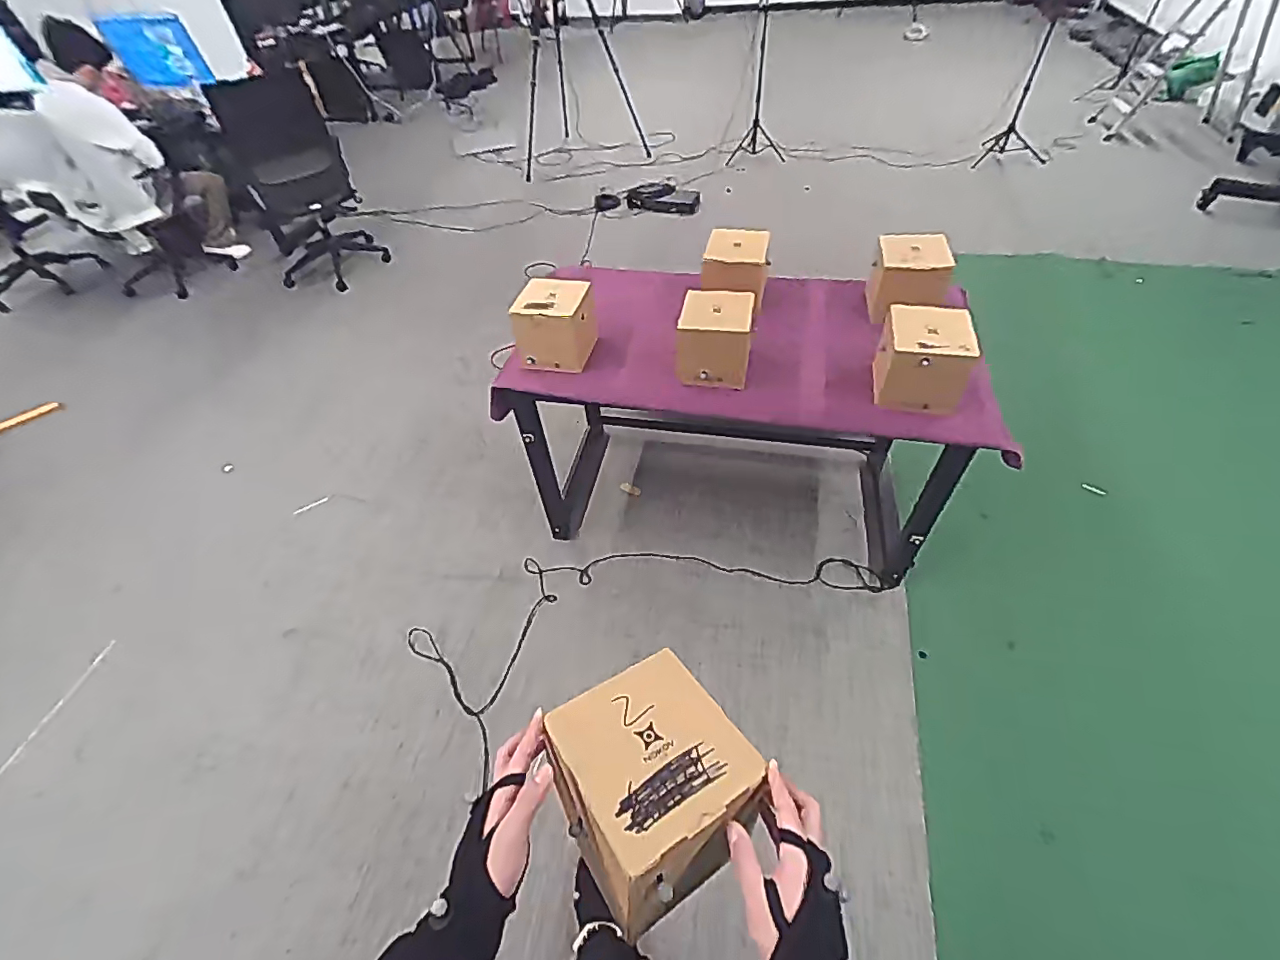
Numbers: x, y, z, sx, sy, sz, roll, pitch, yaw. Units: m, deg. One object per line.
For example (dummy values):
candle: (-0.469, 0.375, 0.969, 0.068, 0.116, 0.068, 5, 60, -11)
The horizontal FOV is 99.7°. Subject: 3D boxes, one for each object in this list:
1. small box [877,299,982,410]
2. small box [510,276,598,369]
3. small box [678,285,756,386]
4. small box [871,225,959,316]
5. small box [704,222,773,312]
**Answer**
small box: (0.639, -0.284, 1.217, 0.168, 0.176, 0.179, 7, 51, 13)
small box: (-0.215, -0.411, 1.416, 0.168, 0.176, 0.179, 7, 49, 11)
small box: (0.190, -0.356, 1.331, 0.168, 0.176, 0.179, 6, 50, 12)
small box: (0.719, -0.553, 1.435, 0.168, 0.176, 0.179, 4, 52, 13)
small box: (0.275, -0.601, 1.529, 0.168, 0.176, 0.179, 9, 54, 12)
